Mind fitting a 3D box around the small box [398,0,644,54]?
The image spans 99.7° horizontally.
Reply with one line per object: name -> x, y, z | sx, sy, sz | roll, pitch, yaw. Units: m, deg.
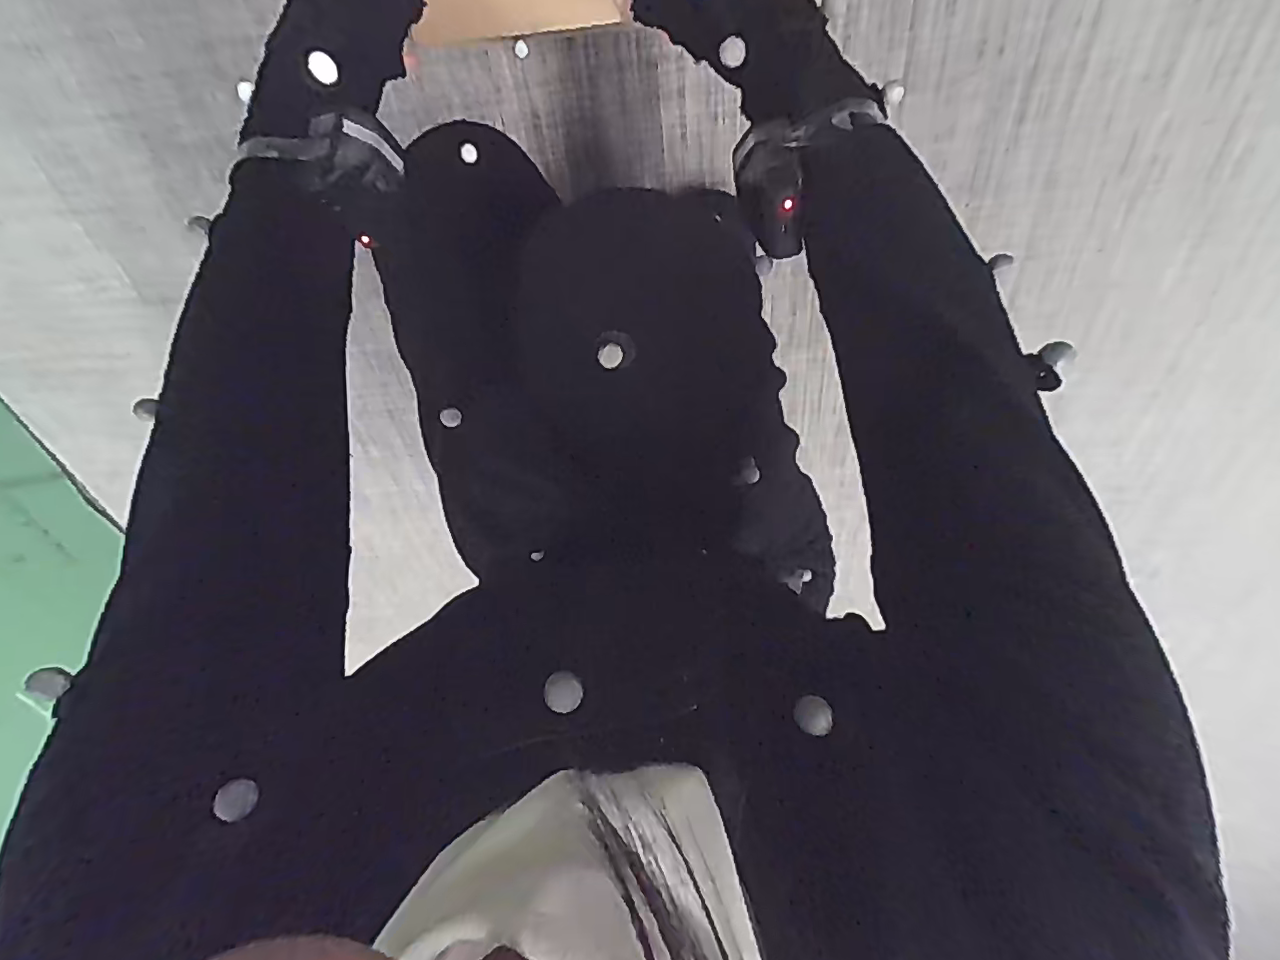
small box -> -0.092, -0.445, 0.423 | 0.179, 0.176, 0.168 | -3, 128, 5
